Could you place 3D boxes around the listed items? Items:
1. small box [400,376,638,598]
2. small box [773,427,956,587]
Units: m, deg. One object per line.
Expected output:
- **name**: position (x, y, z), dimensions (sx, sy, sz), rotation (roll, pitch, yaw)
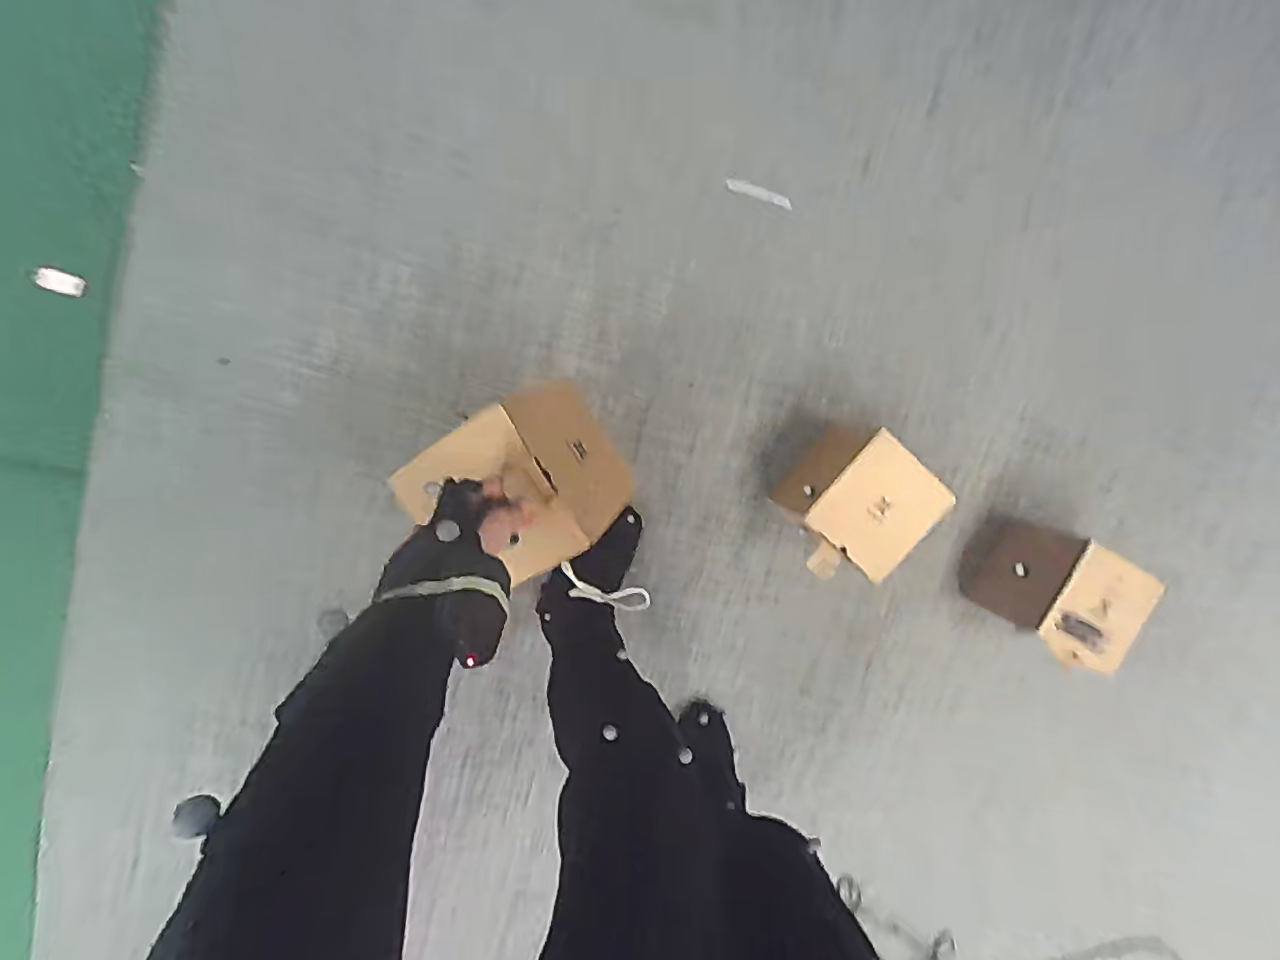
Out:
- **small box**: position (-0.133, 0.006, 0.602), dimensions (0.176, 0.179, 0.168), rotation (-24, 100, 24)
- **small box**: position (0.343, 0.031, 0.862), dimensions (0.168, 0.176, 0.179), rotation (40, 94, -11)
